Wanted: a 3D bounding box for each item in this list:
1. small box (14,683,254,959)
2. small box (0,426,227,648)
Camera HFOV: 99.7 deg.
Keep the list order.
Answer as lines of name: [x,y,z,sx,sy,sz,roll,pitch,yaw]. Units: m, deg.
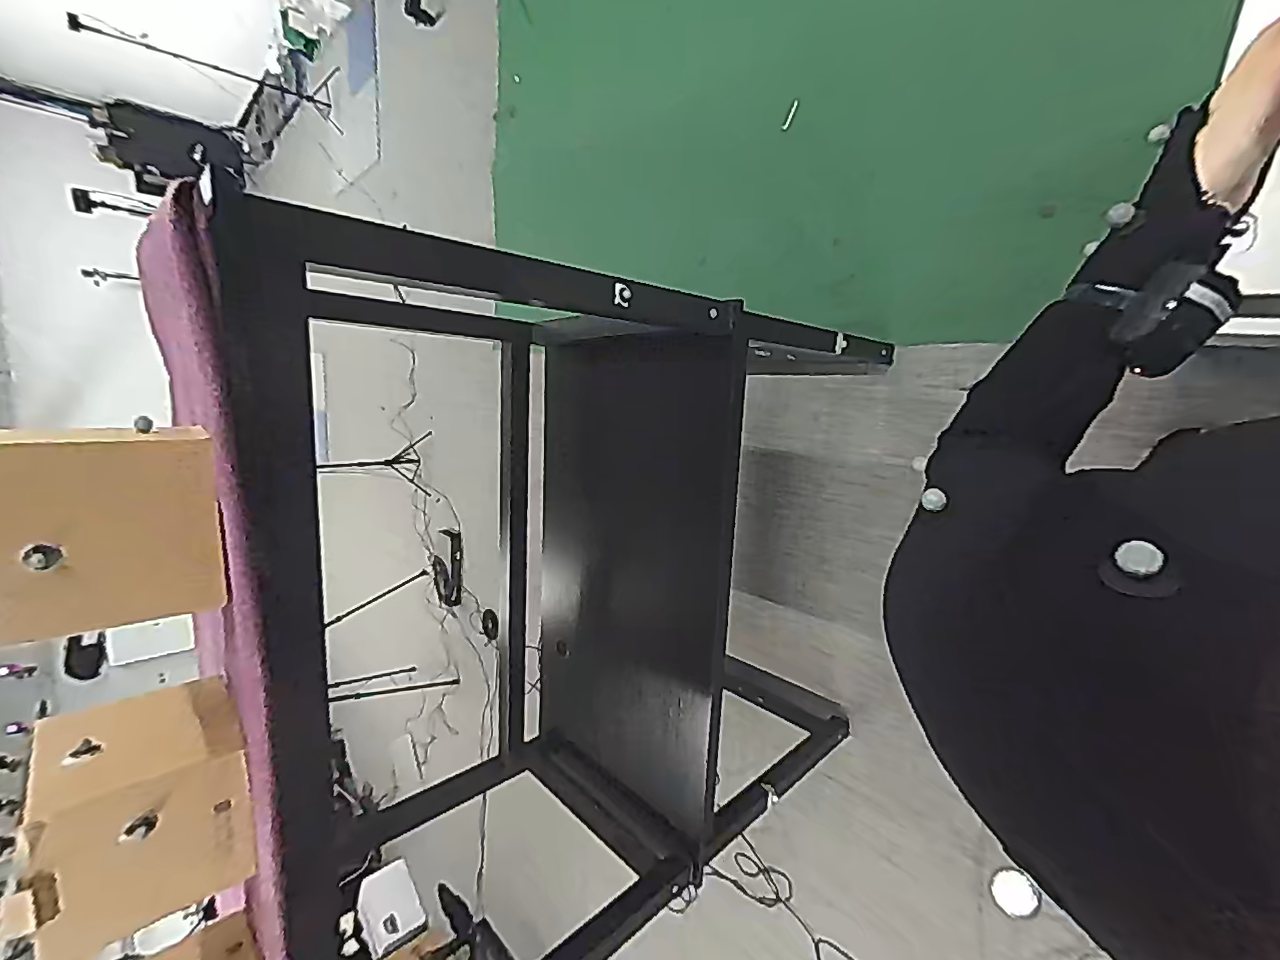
small box: [-0.533,0.349,0.588,0.179,0.176,0.168,16,105,45]
small box: [-0.531,0.040,0.544,0.168,0.176,0.179,12,103,47]
